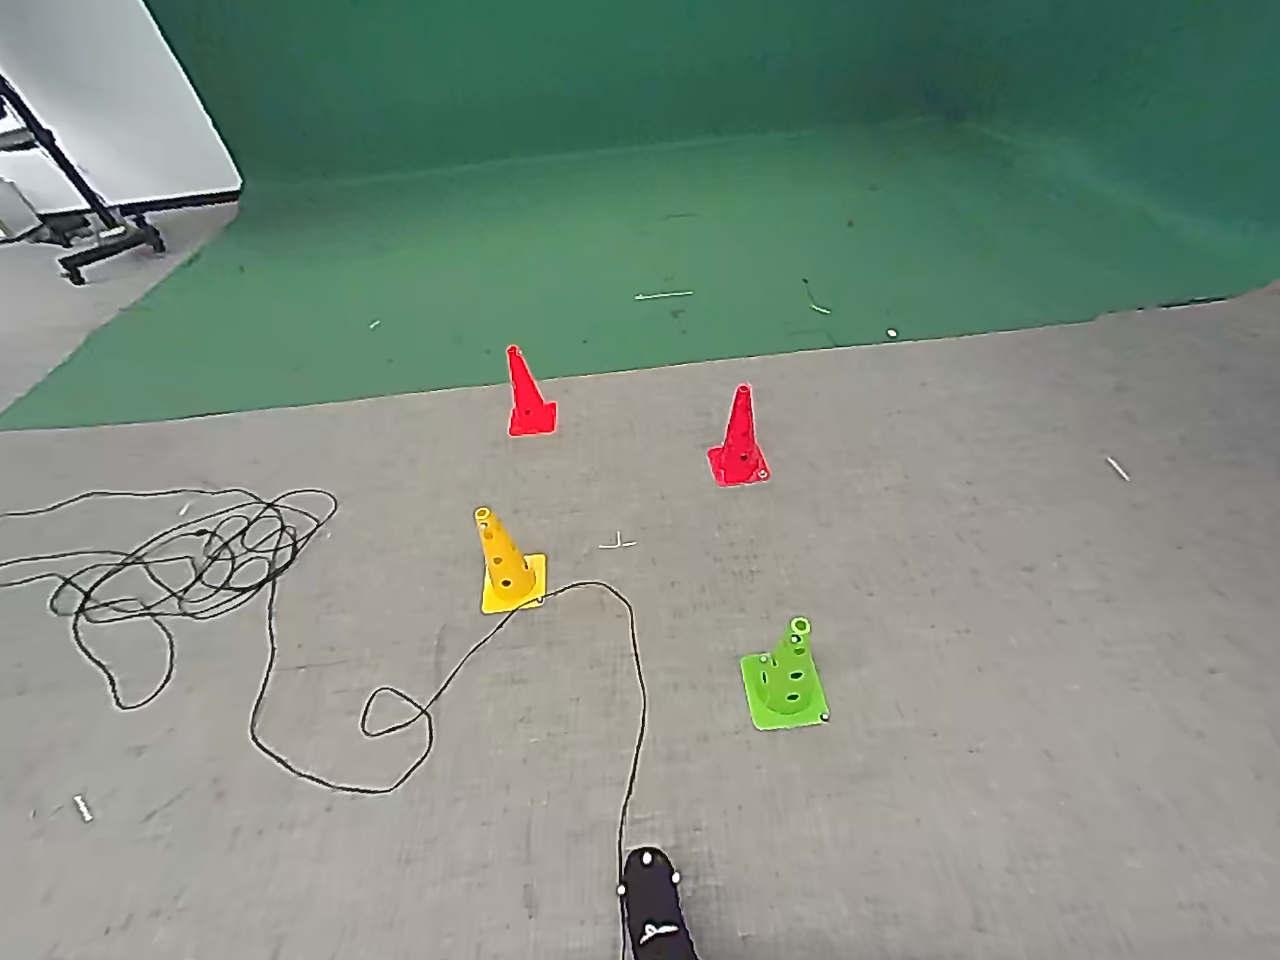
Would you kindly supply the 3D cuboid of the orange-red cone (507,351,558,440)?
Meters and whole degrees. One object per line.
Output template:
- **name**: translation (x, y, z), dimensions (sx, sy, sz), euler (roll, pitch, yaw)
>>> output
- **orange-red cone**: translation (-0.470, -0.362, 2.195), dimensions (0.198, 0.360, 0.199), euler (-7, 47, 2)

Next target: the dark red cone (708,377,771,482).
- **dark red cone**: translation (0.352, -0.187, 1.892), dimensions (0.202, 0.394, 0.201), euler (-10, 45, -2)

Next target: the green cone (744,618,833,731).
- **green cone**: translation (0.374, 0.442, 1.325), dimensions (0.202, 0.368, 0.200), euler (-8, 46, 1)
